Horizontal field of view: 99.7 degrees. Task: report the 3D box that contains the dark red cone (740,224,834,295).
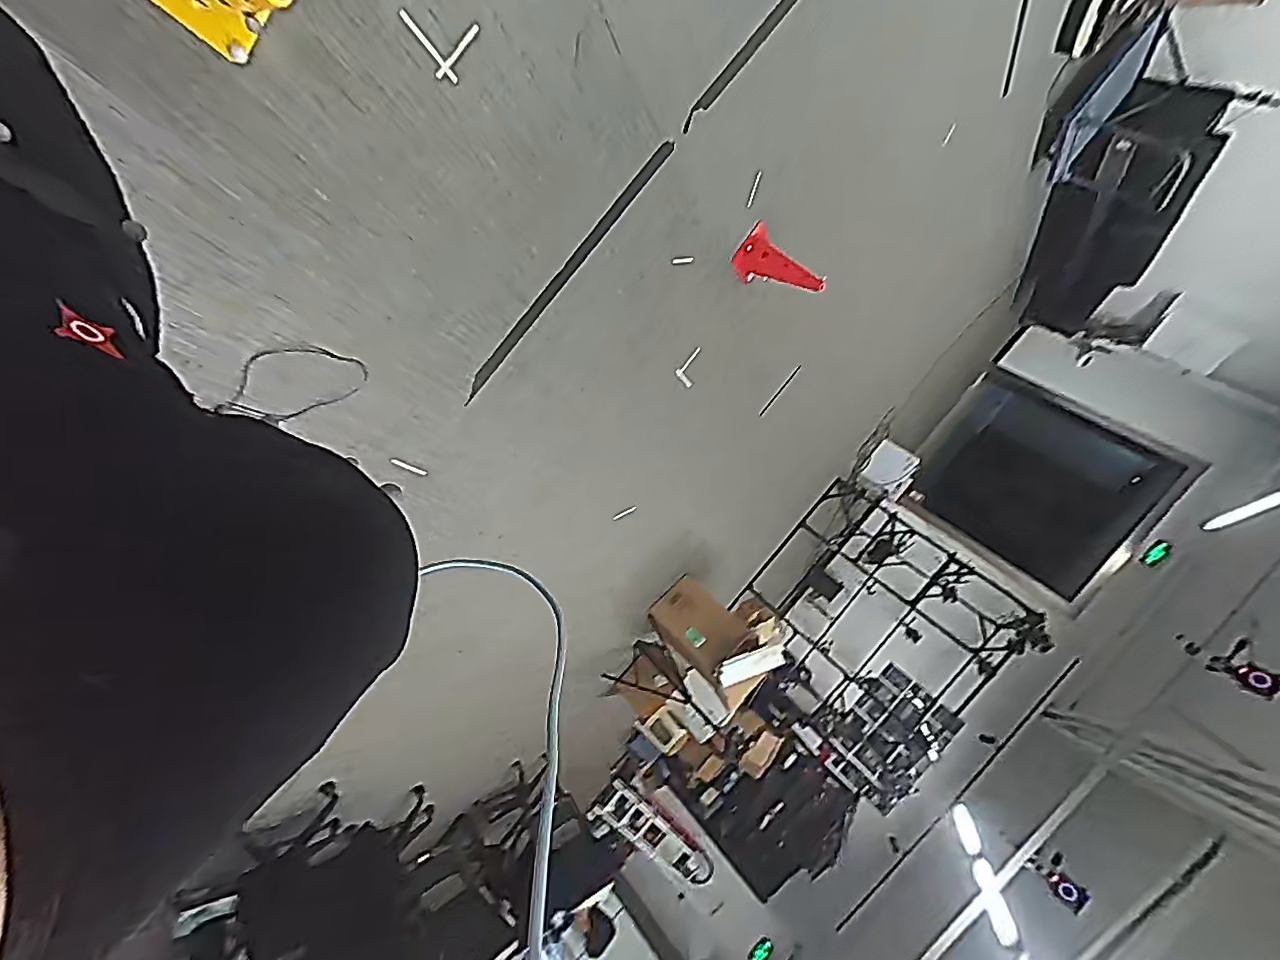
[{"bbox_3d":[0.604,-0.836,2.155,0.202,0.394,0.201,-54,149,9],"label":"dark red cone"}]
